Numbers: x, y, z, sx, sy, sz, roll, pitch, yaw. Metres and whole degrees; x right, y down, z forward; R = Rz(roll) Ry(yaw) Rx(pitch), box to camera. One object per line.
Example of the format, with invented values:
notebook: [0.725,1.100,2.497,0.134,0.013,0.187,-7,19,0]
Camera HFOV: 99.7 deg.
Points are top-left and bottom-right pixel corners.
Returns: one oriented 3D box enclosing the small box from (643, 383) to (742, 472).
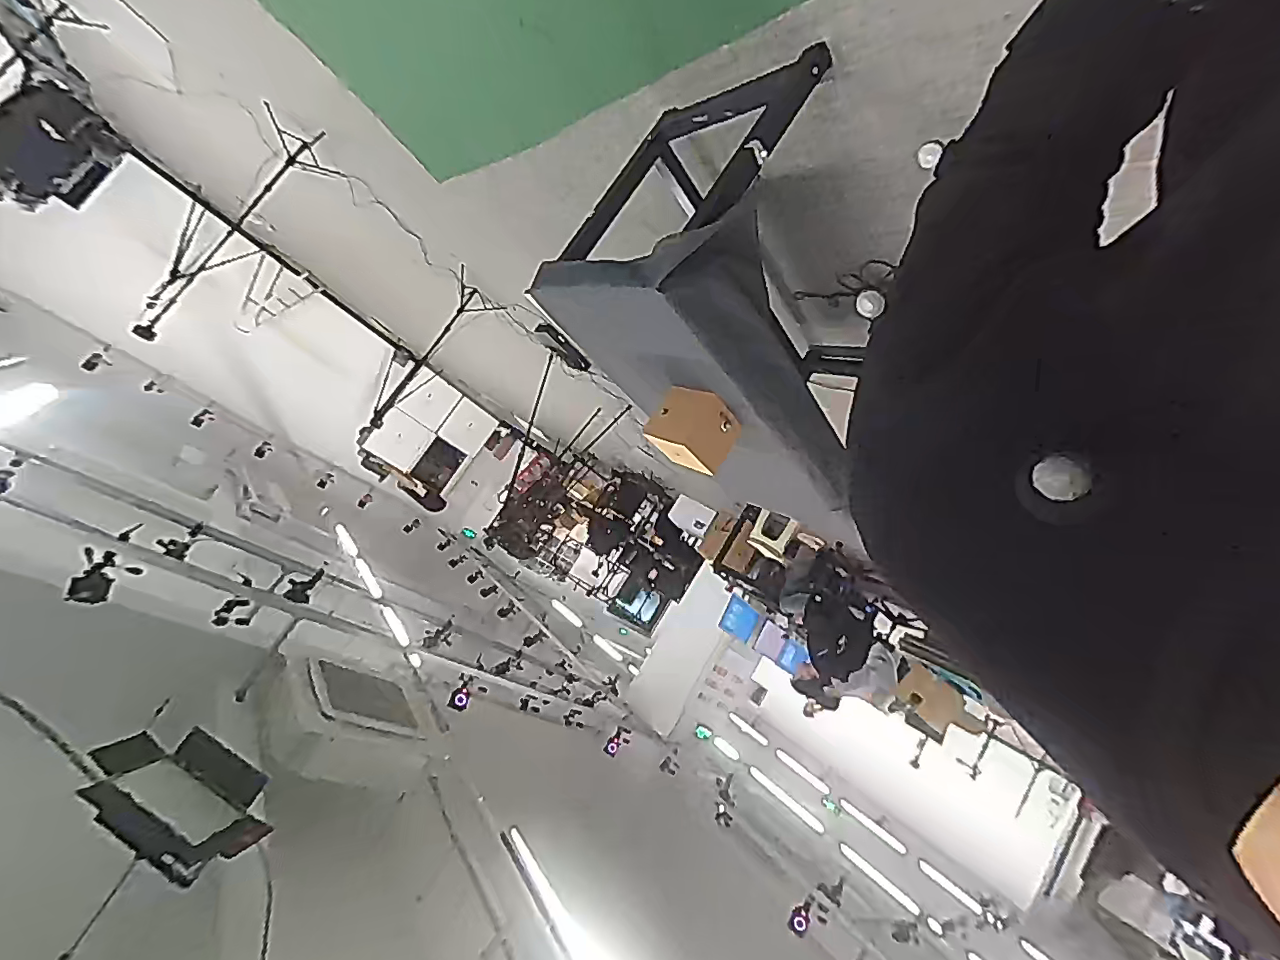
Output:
small box: [0.148,-0.149,1.494,0.179,0.176,0.168,22,168,48]
